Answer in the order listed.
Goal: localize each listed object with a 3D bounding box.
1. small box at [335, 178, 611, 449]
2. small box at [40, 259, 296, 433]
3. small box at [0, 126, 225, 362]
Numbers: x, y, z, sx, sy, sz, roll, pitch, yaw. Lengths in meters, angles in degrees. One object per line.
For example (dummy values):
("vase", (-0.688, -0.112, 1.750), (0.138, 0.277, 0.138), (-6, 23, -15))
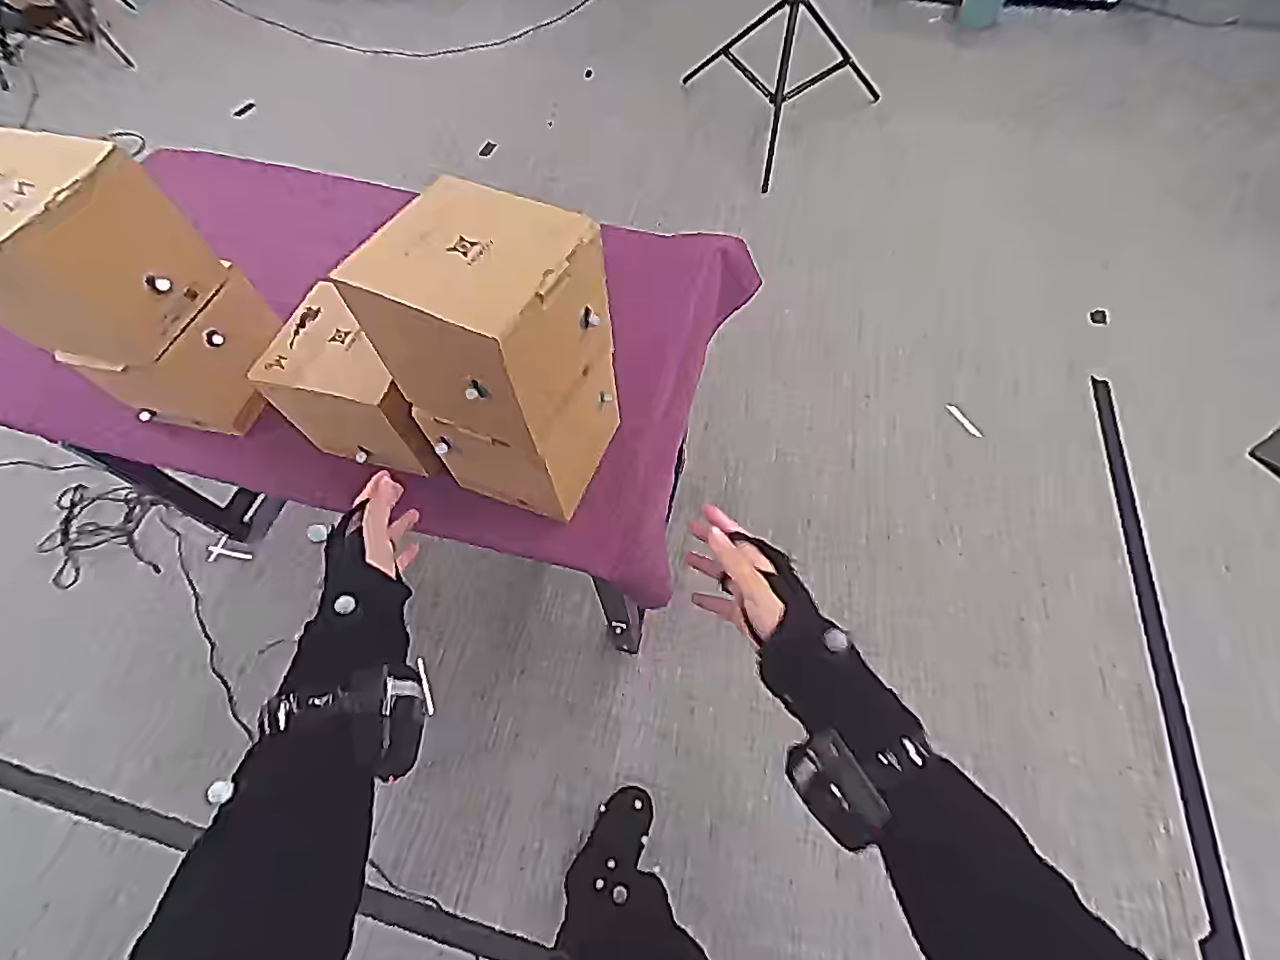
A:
("small box", (-0.140, -0.155, 0.532), (0.179, 0.176, 0.168), (22, 62, 15))
("small box", (-0.627, -0.187, 0.751), (0.168, 0.176, 0.179), (10, 61, 7))
("small box", (-0.631, -0.253, 0.599), (0.179, 0.176, 0.168), (12, 63, 8))
